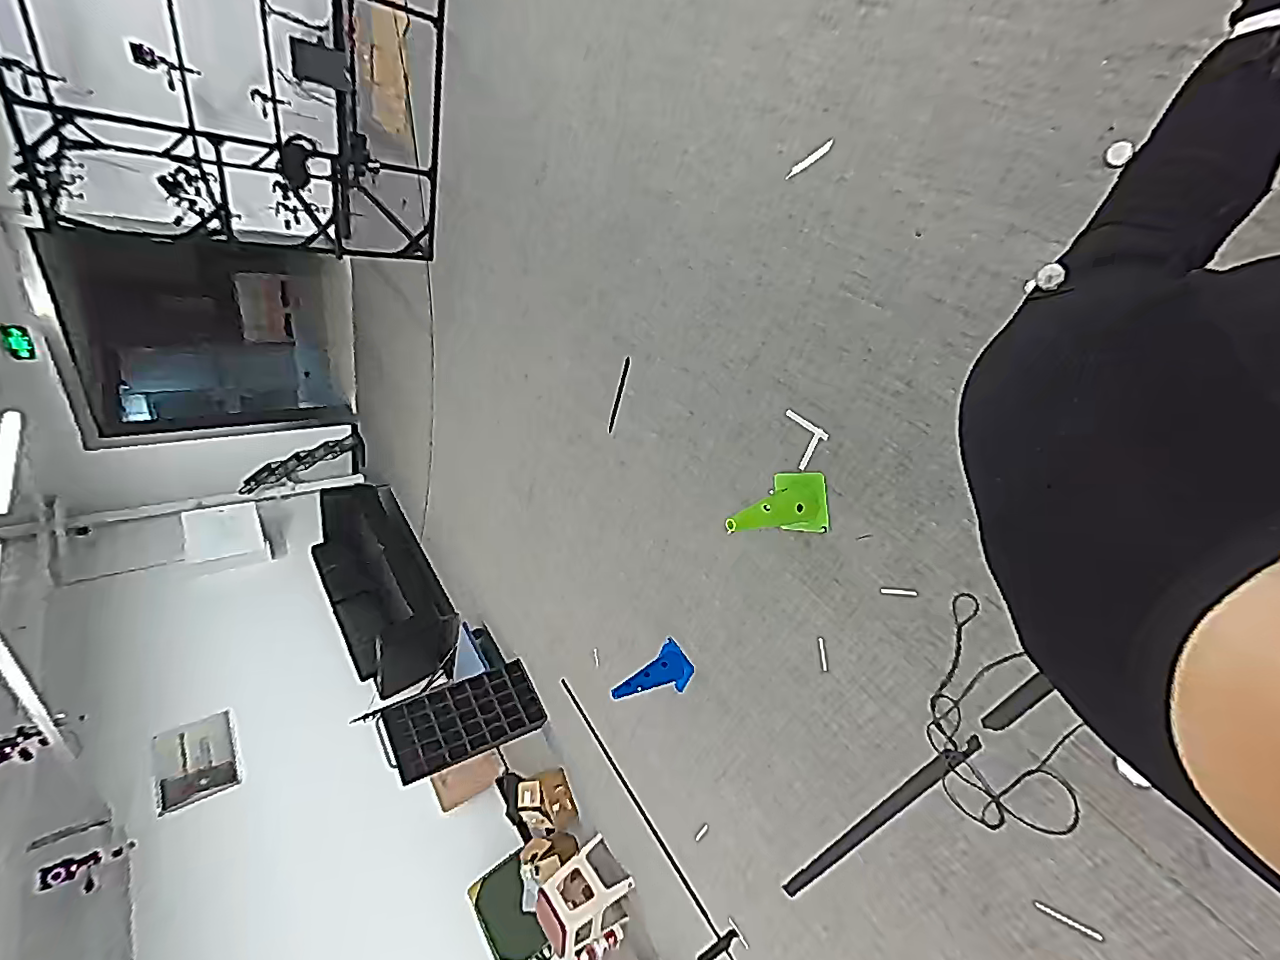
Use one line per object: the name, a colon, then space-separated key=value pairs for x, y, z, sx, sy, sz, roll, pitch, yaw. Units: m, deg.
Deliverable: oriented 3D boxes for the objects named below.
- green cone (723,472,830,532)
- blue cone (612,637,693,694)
green cone: x=0.409 y=0.099 z=1.722 sx=0.202 sy=0.368 sz=0.200 roll=-1 pitch=98 yaw=54
blue cone: x=0.041 y=0.887 z=2.446 sx=0.192 sy=0.380 sz=0.193 roll=50 pitch=135 yaw=33
